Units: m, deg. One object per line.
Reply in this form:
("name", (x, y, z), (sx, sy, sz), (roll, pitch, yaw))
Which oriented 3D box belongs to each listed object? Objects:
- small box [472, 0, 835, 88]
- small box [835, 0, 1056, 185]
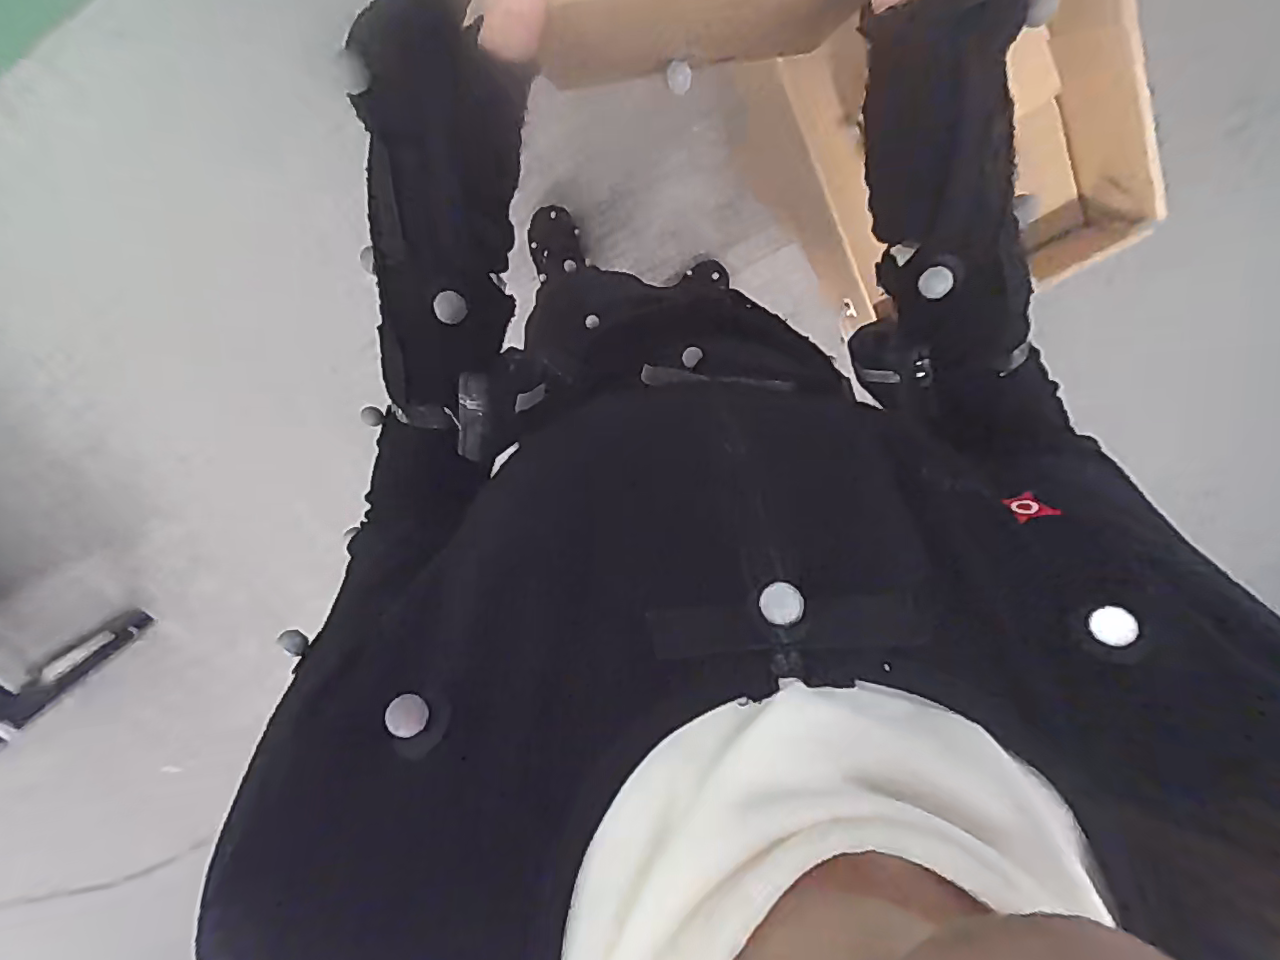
("small box", (0.004, -0.297, 0.229), (0.168, 0.176, 0.179), (-6, 118, 5))
("small box", (0.394, -0.526, 0.723), (0.179, 0.176, 0.168), (-30, 110, 14))
